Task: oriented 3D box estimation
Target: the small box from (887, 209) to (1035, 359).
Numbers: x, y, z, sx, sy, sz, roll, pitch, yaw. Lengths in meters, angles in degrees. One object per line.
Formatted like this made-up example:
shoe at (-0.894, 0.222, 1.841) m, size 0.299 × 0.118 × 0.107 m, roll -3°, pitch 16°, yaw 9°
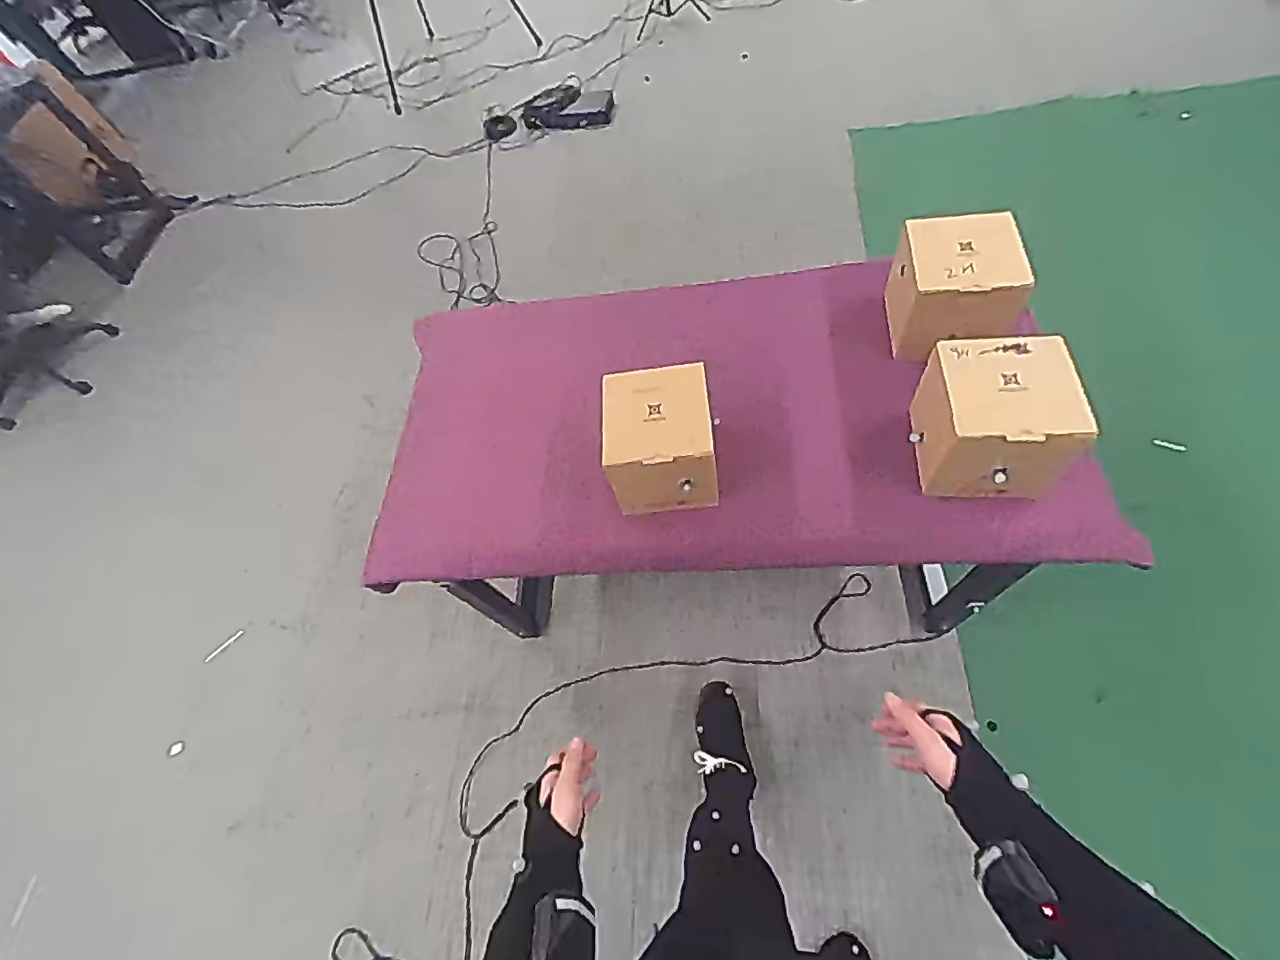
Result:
small box at (0.535, -0.330, 0.930) m, size 0.168 × 0.176 × 0.179 m, roll 0°, pitch 63°, yaw 13°

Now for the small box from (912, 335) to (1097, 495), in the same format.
small box at (0.517, -0.088, 0.798) m, size 0.168 × 0.176 × 0.179 m, roll 1°, pitch 61°, yaw 12°

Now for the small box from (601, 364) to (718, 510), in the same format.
small box at (0.035, -0.060, 0.883) m, size 0.168 × 0.176 × 0.179 m, roll -6°, pitch 59°, yaw 7°
